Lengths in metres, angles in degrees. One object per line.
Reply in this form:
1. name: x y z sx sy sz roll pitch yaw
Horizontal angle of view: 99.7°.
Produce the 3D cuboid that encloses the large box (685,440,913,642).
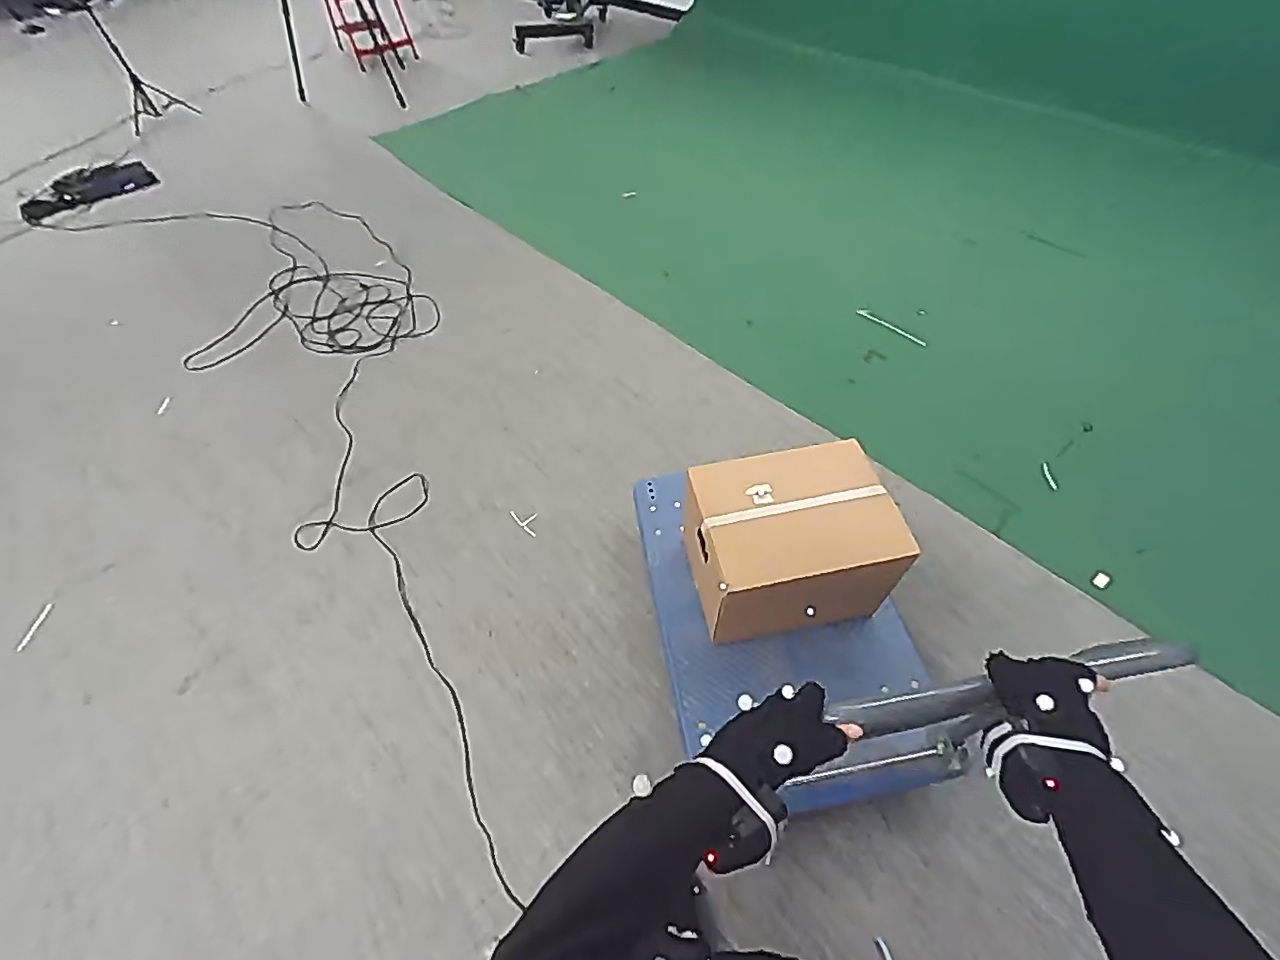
1. large box: 0.338 0.150 1.277 0.408 0.320 0.320 -11 54 -5
